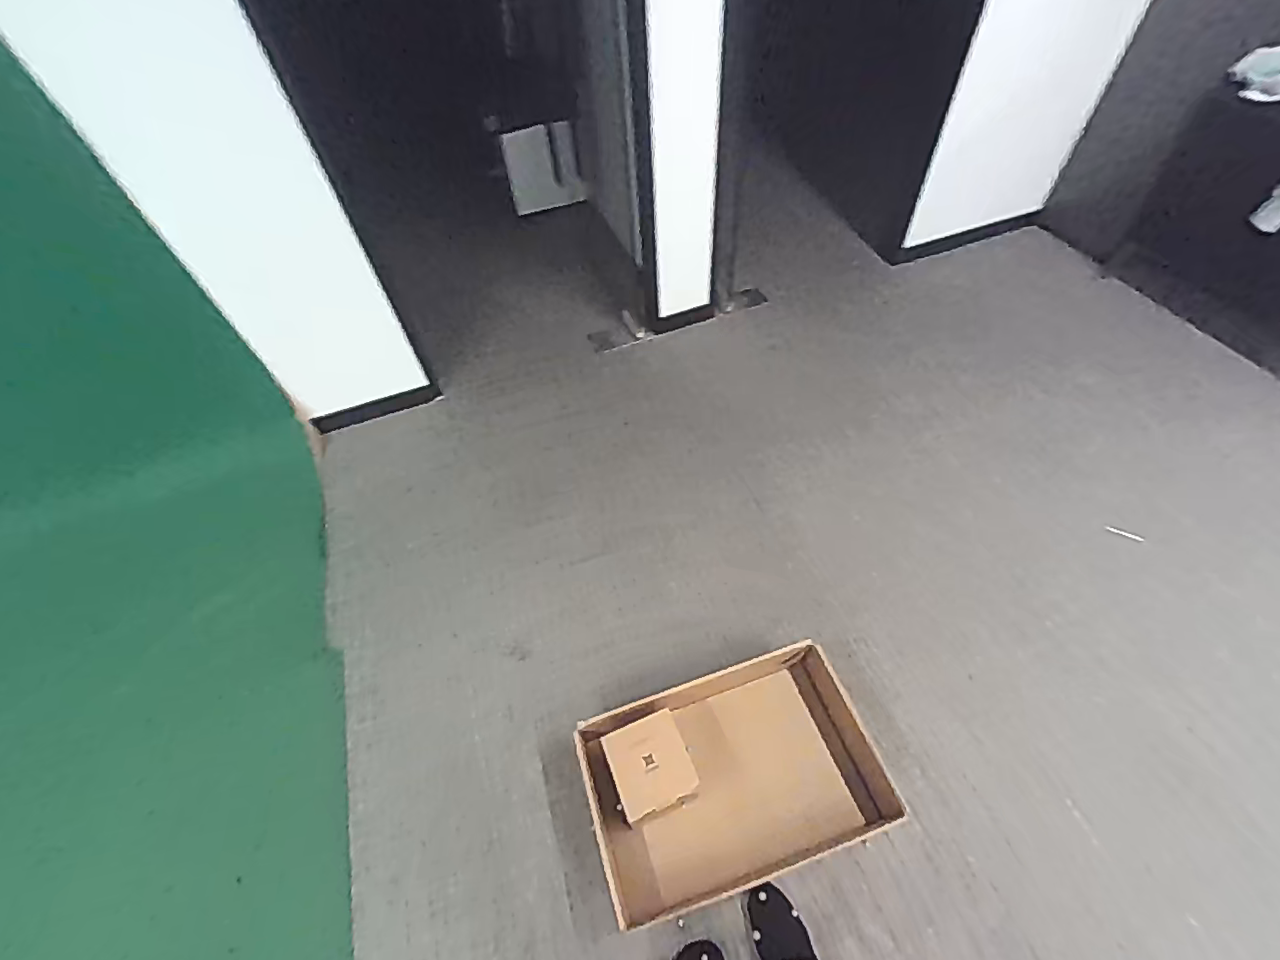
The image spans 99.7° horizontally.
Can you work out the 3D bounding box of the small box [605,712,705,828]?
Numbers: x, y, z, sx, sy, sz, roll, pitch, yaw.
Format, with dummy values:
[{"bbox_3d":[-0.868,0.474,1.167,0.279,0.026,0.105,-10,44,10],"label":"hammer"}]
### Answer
[{"bbox_3d":[0.035,0.650,1.205,0.168,0.176,0.179,-20,54,-10],"label":"small box"}]
